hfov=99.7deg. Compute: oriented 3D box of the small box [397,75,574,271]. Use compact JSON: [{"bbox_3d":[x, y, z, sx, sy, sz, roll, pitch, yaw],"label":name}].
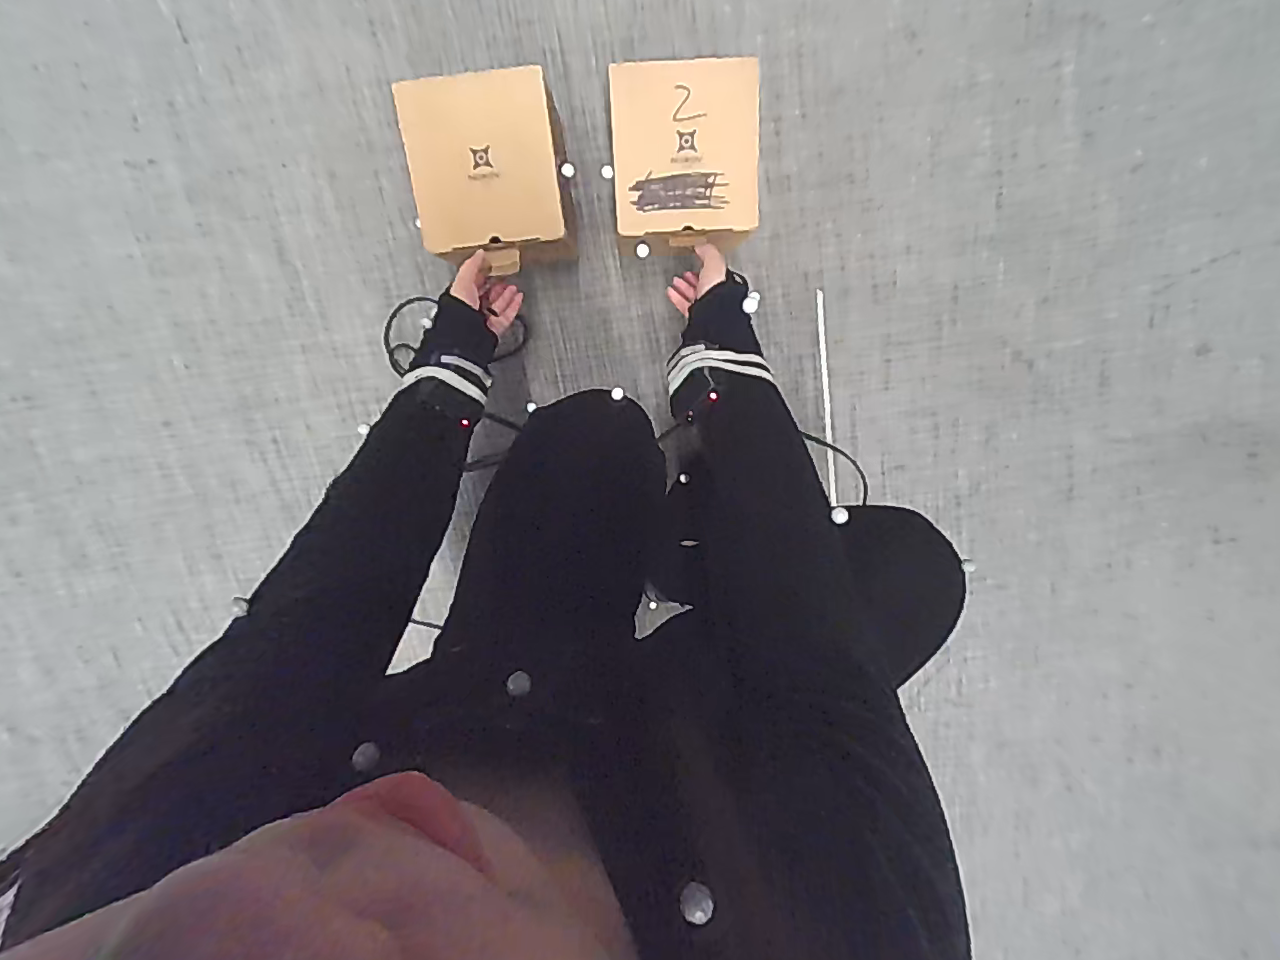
[{"bbox_3d":[-0.181,-0.374,0.689,0.168,0.176,0.179,-6,106,0],"label":"small box"}]
